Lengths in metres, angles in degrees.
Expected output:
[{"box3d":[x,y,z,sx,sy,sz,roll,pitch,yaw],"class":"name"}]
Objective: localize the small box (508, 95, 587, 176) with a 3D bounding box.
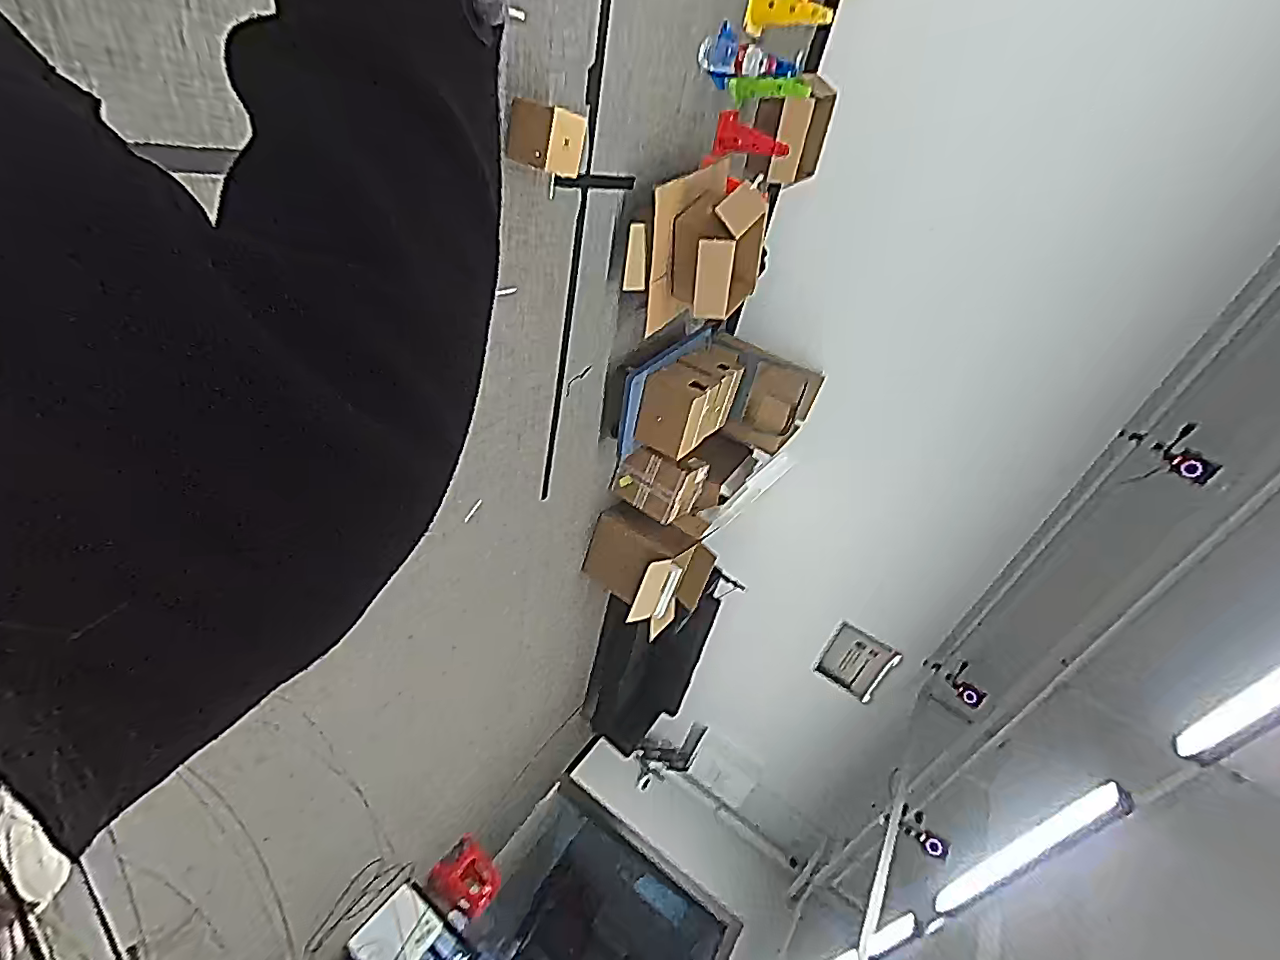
[{"box3d":[-0.298,-1.097,1.723,0.168,0.176,0.179,-31,145,-52],"class":"small box"}]
